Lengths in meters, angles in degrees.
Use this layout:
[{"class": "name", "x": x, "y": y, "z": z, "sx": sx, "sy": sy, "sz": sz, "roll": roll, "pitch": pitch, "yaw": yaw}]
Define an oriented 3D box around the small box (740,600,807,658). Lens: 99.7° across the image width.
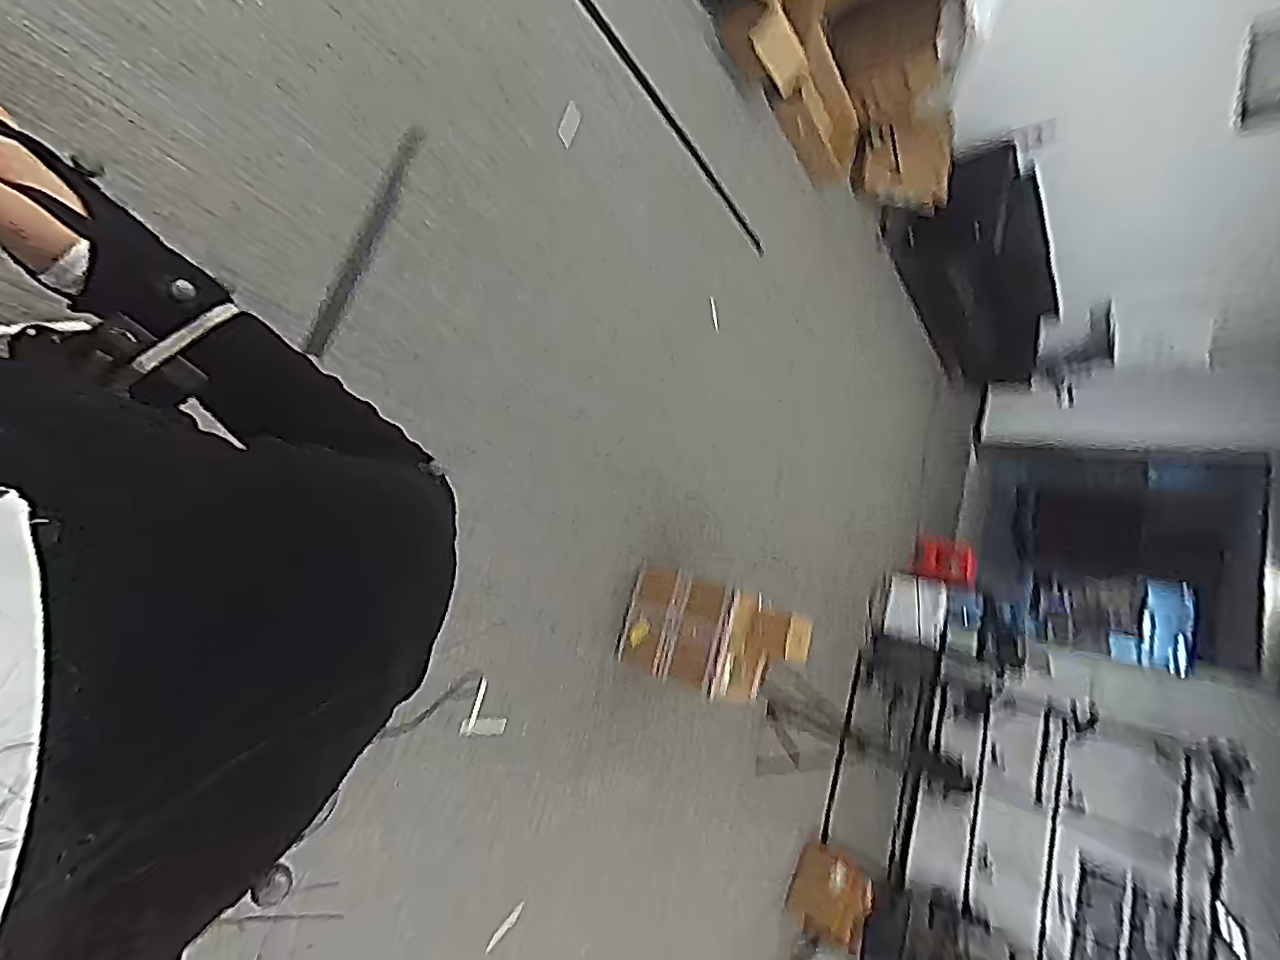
[{"class": "small box", "x": 0.509, "y": 0.567, "z": 2.064, "sx": 0.179, "sy": 0.176, "sz": 0.168, "roll": 27, "pitch": 73, "yaw": -43}]
